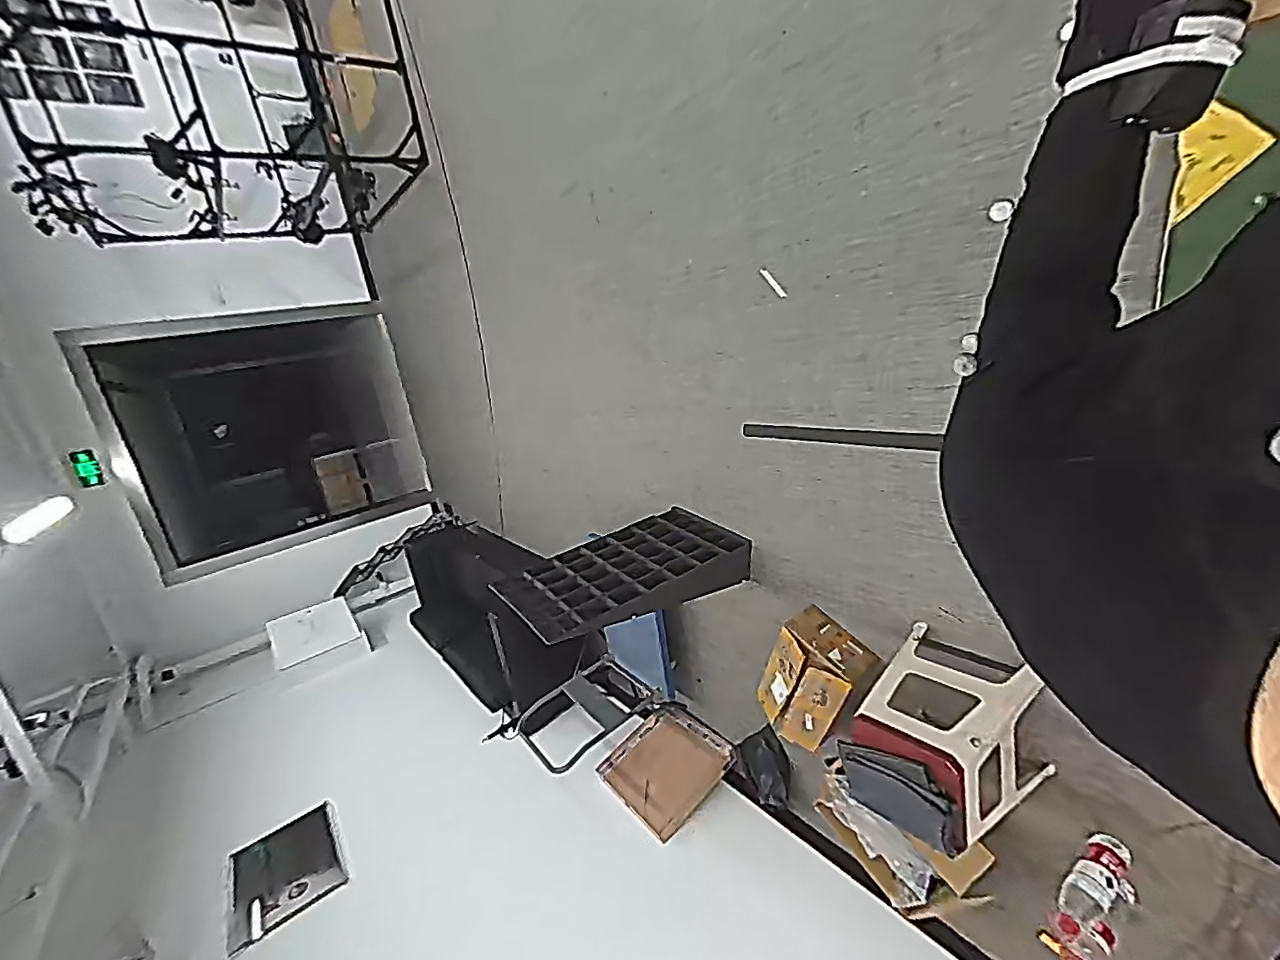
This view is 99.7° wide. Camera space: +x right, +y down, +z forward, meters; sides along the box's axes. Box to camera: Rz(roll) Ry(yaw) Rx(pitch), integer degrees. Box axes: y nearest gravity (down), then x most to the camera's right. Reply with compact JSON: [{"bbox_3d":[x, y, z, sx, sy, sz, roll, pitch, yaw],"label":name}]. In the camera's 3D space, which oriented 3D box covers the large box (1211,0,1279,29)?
[{"bbox_3d":[0.583,-0.496,0.250,0.408,0.320,0.320,10,124,52],"label":"large box"}]
